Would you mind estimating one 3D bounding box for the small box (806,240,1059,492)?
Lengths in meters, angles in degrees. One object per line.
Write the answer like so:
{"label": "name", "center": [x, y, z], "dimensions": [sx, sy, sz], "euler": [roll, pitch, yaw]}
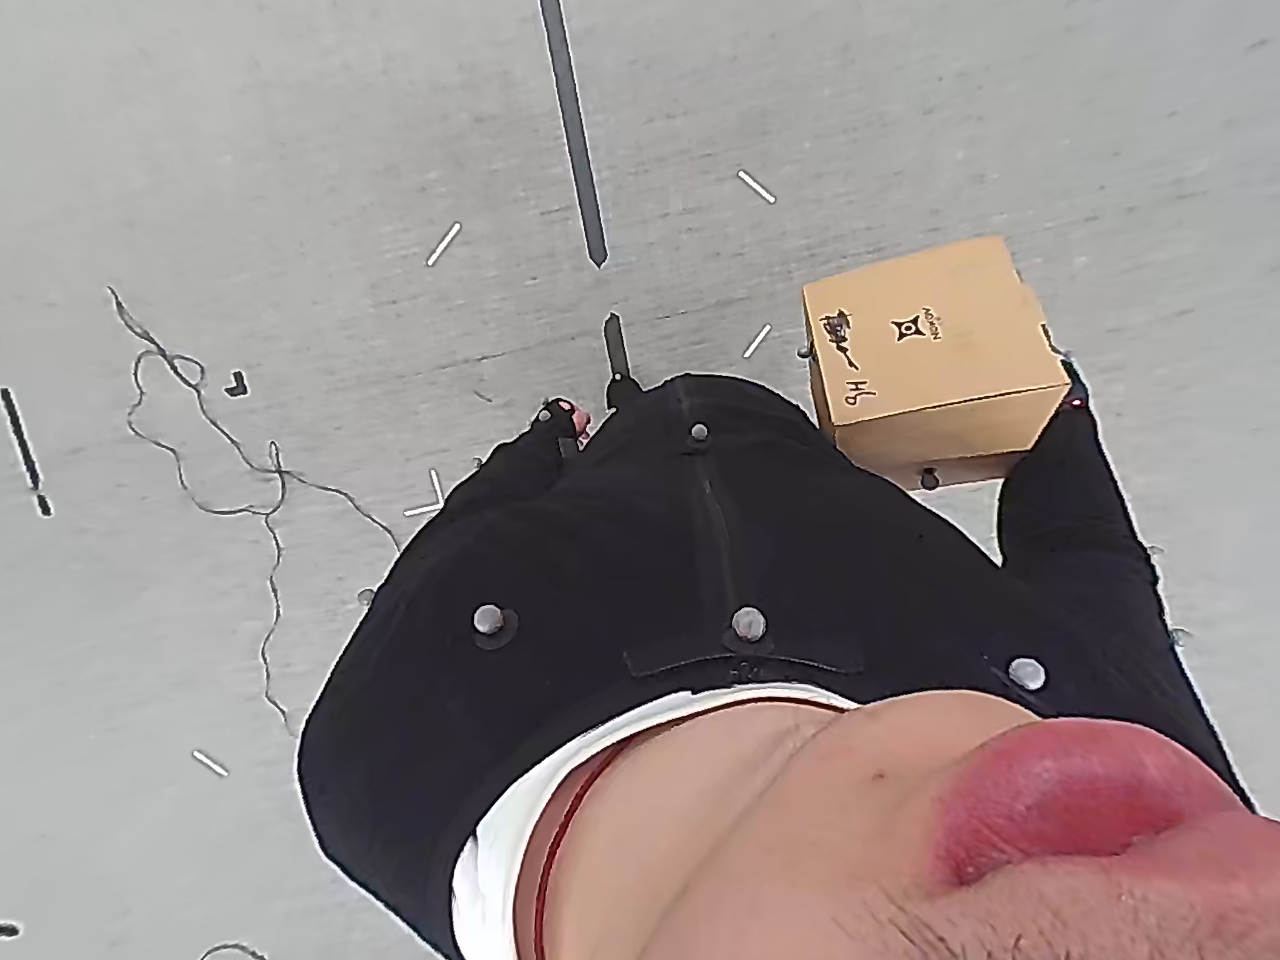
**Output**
{"label": "small box", "center": [0.273, -0.102, 0.552], "dimensions": [0.179, 0.176, 0.168], "euler": [-10, 62, 16]}
